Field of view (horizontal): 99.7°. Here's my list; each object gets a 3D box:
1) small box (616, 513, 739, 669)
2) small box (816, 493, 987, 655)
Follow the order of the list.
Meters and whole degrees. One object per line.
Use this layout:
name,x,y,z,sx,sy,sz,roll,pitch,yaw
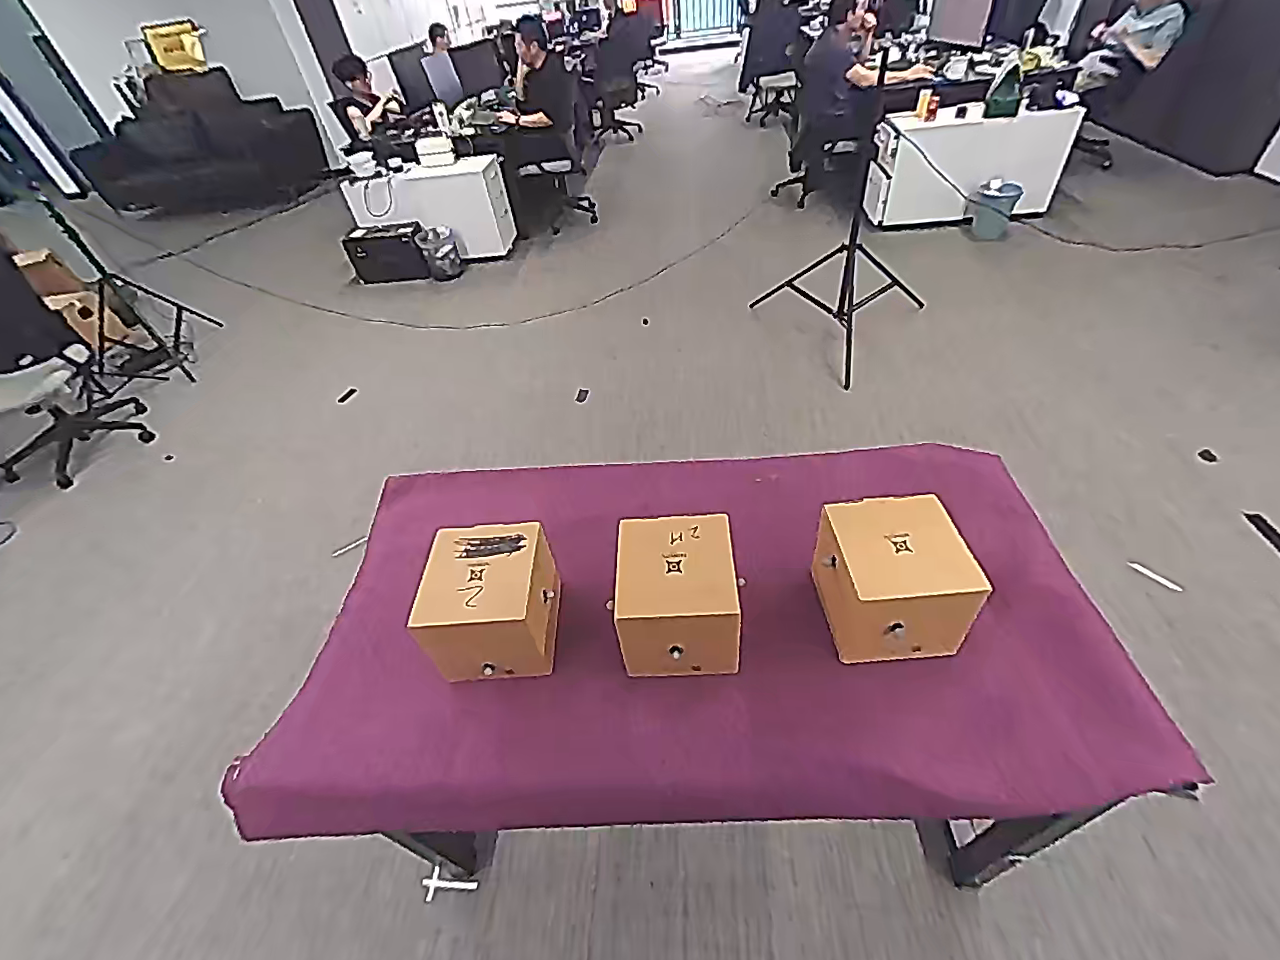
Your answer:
small box,0.061,0.172,0.819,0.168,0.176,0.179,-3,44,5
small box,0.368,0.145,0.801,0.168,0.176,0.179,-6,42,3
